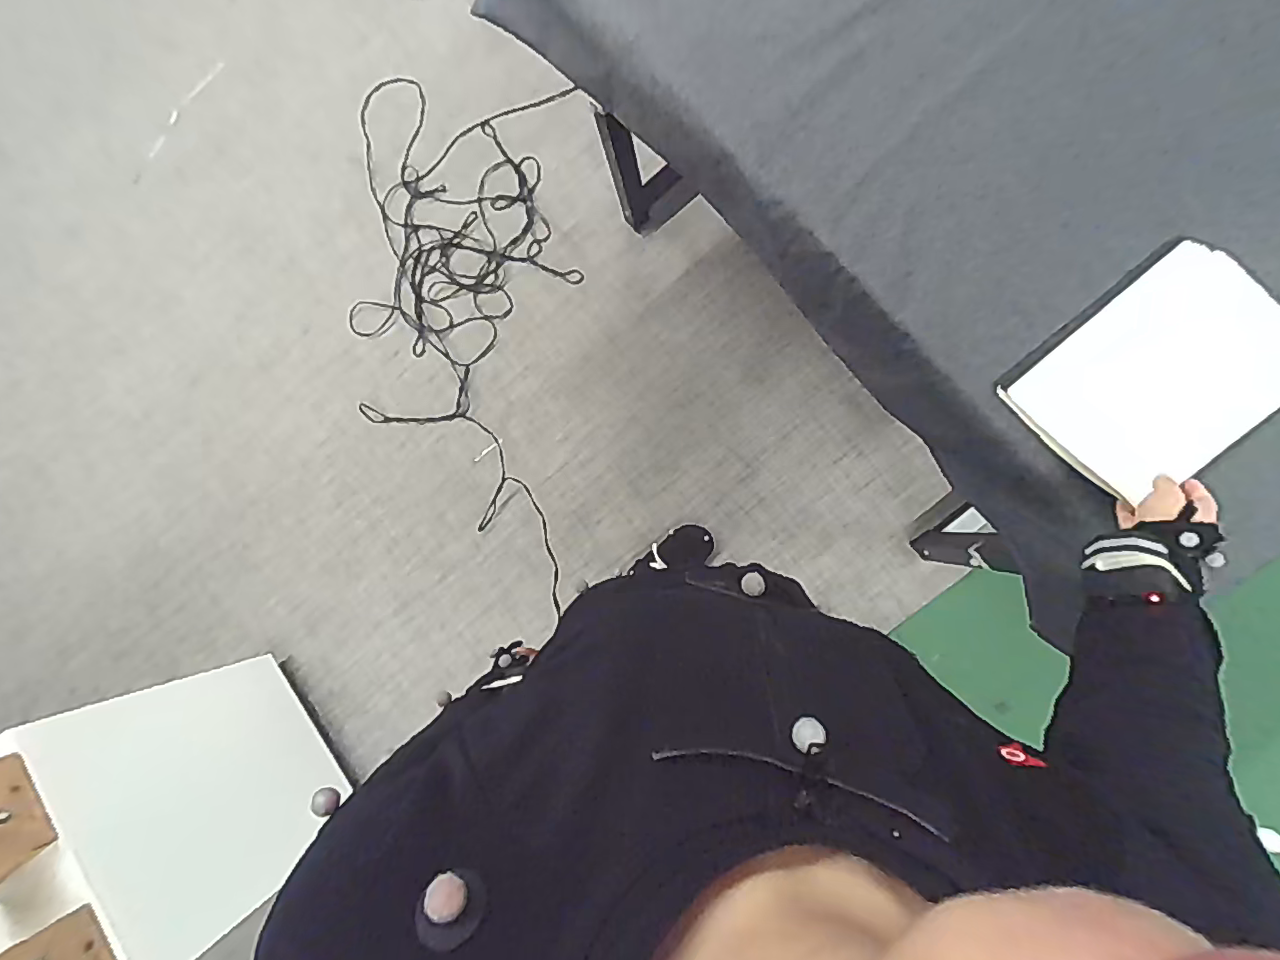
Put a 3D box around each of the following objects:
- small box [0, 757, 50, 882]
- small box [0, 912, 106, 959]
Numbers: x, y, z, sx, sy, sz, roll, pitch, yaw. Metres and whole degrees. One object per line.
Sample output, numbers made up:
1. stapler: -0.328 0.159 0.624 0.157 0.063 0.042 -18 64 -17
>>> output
1. small box: -1.079 0.566 0.819 0.179 0.176 0.168 -38 81 4
2. small box: -0.916 0.785 0.777 0.179 0.176 0.168 -38 80 5
